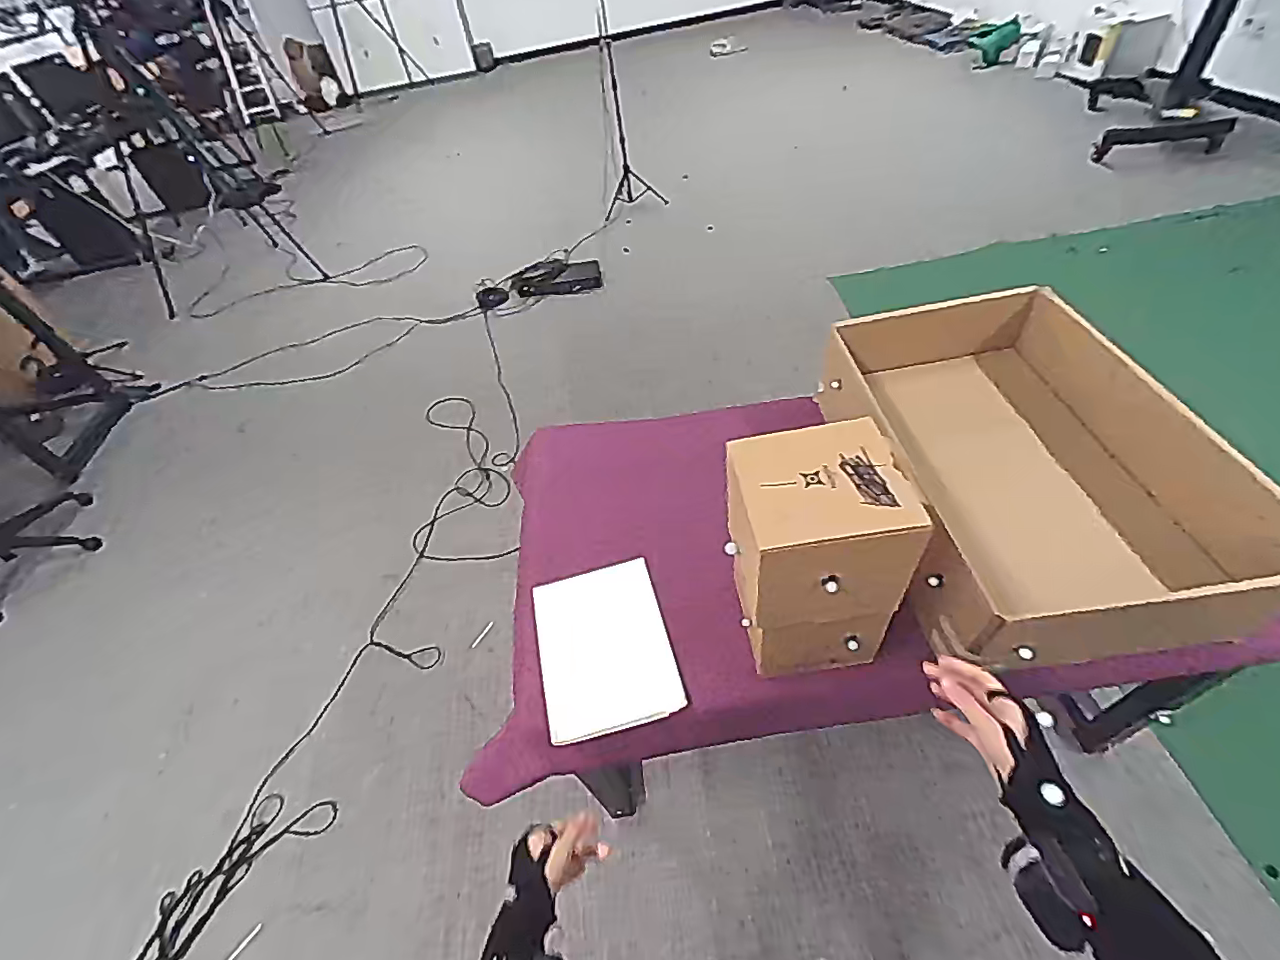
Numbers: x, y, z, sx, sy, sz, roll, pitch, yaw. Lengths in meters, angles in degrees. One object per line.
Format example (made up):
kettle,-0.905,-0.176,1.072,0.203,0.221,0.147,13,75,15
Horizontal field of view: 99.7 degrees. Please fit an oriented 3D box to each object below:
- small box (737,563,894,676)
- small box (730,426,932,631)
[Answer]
small box,0.235,0.164,0.771,0.168,0.176,0.179,-8,46,2
small box,0.207,0.061,0.645,0.179,0.176,0.168,-9,46,3
